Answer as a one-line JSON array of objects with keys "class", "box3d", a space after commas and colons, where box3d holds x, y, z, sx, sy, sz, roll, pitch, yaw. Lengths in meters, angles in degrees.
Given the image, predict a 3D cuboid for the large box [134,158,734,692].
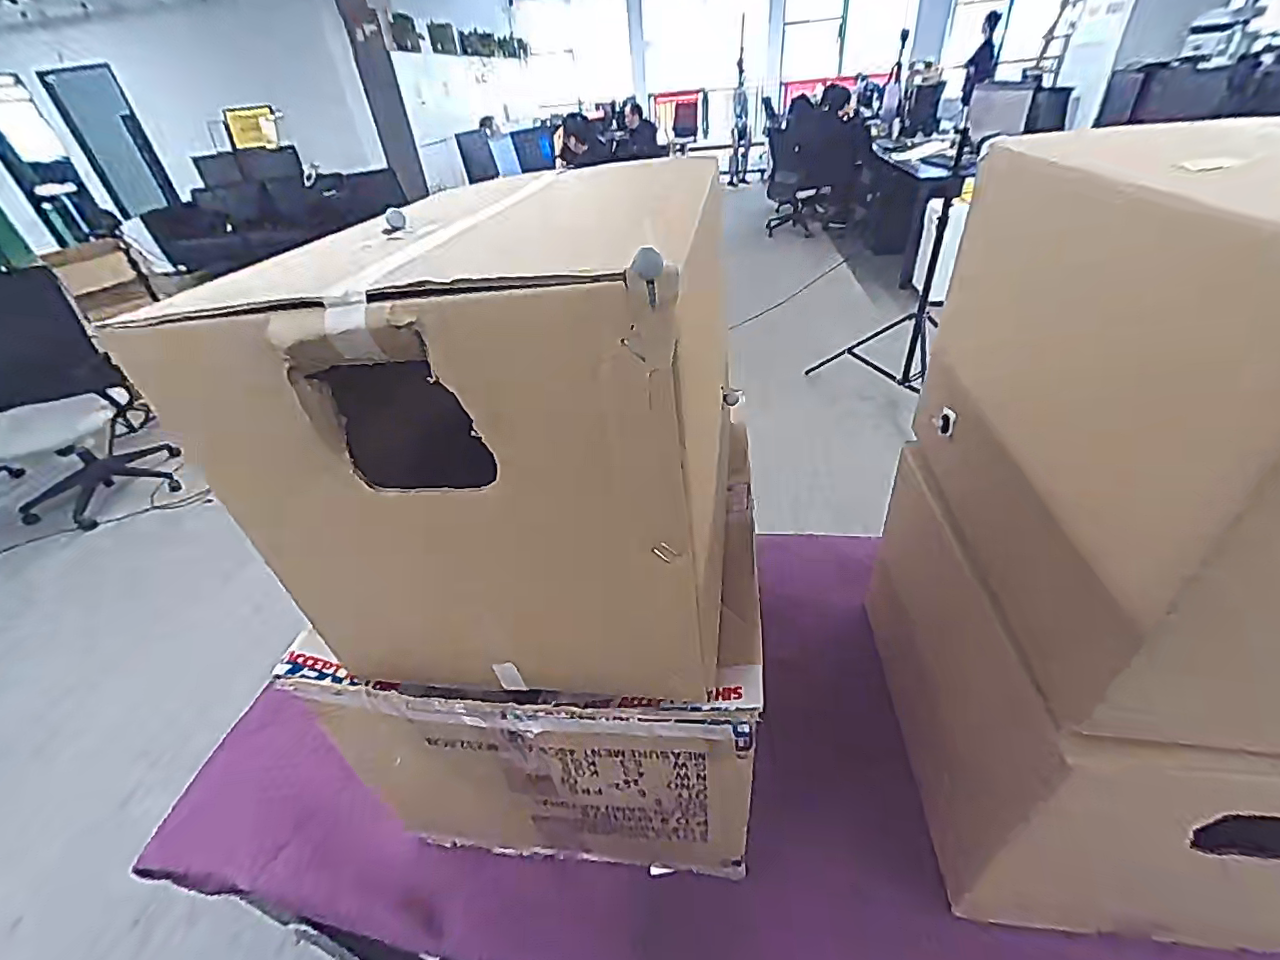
[{"class": "large box", "box3d": [-0.074, -0.076, 0.496, 0.320, 0.320, 0.408, -2, 37, 12]}]
